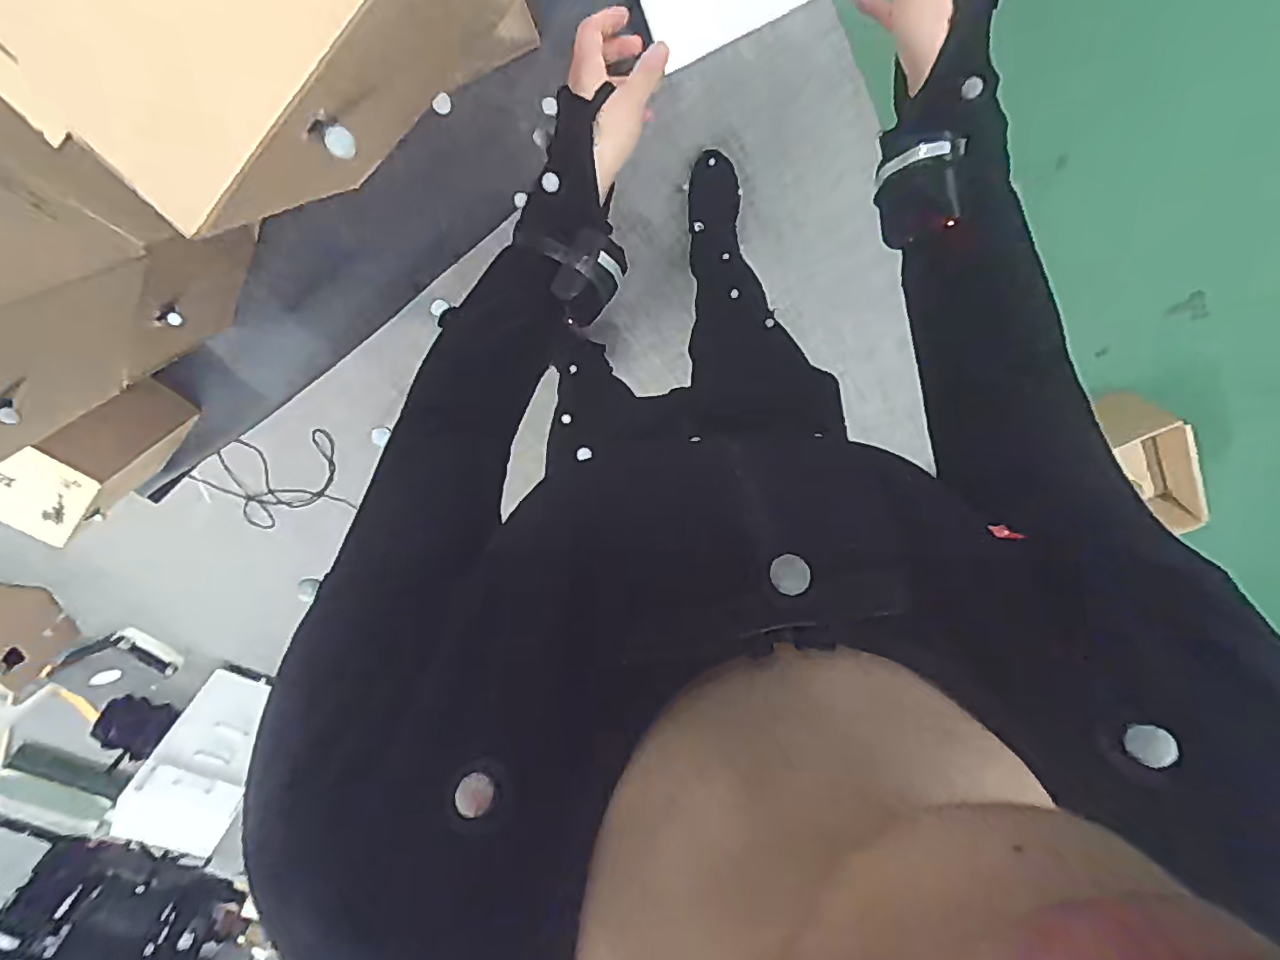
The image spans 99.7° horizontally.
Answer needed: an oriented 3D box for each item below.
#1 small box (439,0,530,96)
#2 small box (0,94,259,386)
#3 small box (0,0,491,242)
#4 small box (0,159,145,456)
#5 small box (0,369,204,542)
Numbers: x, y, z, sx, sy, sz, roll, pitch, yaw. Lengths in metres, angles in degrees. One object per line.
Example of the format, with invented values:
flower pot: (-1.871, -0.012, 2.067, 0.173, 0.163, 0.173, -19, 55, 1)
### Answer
small box: (-0.201, -0.375, 0.381, 0.168, 0.176, 0.179, -14, 126, 16)
small box: (-0.513, -0.233, 0.524, 0.168, 0.176, 0.179, 32, 124, -20)
small box: (-0.196, -0.259, 0.264, 0.179, 0.176, 0.168, -28, 120, 26)
small box: (-0.523, -0.128, 0.398, 0.168, 0.176, 0.179, 35, 123, -21)
small box: (-0.714, -0.061, 0.676, 0.168, 0.176, 0.179, -33, 119, 27)
